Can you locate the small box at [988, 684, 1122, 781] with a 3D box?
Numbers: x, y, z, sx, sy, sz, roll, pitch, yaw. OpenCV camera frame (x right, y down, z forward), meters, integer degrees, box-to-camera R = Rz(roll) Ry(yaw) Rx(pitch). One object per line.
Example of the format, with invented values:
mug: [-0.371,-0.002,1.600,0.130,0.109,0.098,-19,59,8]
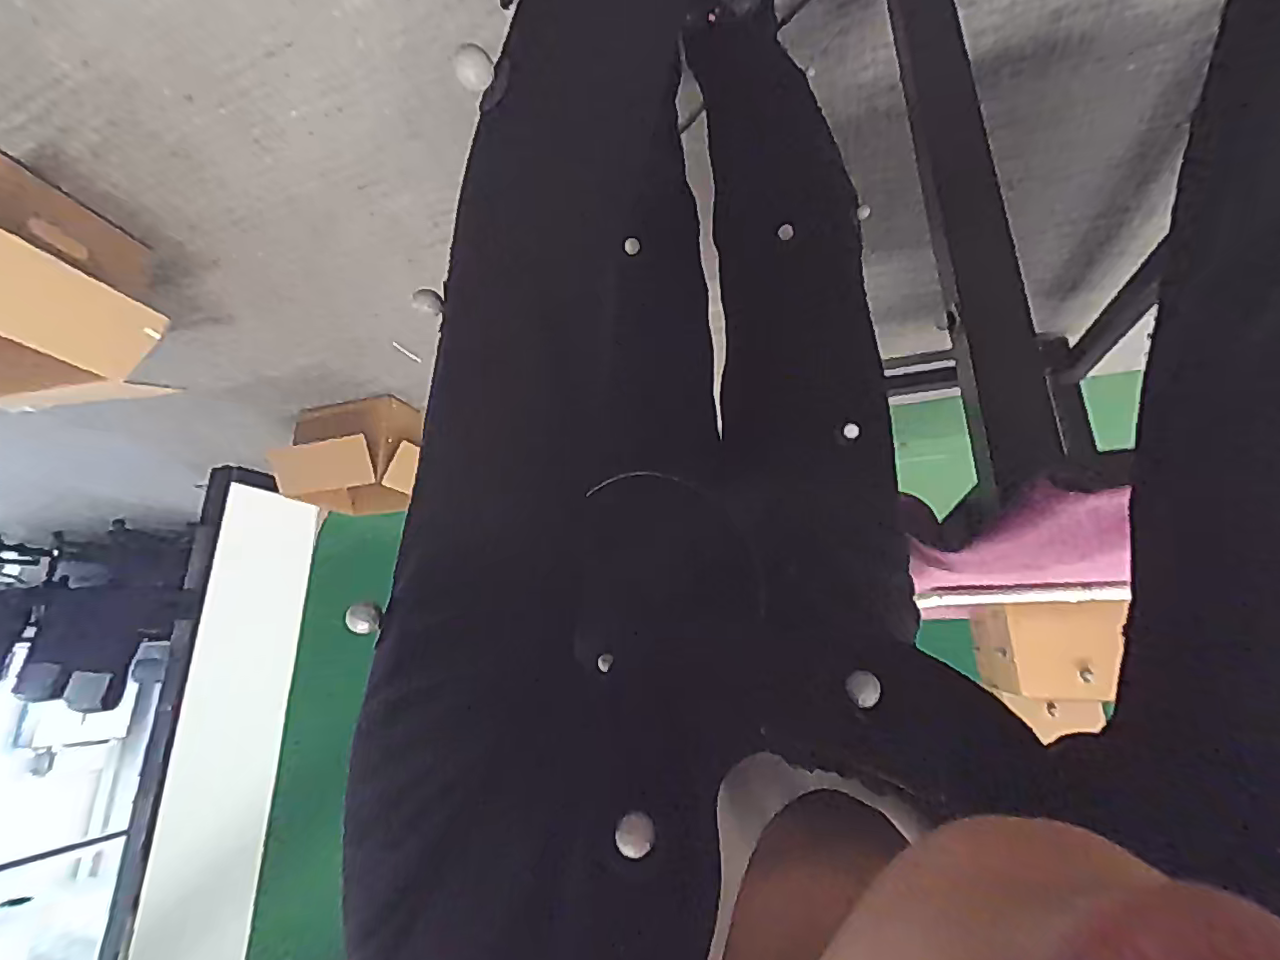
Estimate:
small box: [0.877,0.531,1.165,0.179,0.176,0.168,-5,163,18]

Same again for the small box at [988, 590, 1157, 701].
small box: [0.735,0.289,0.946,0.179,0.176,0.168,-8,161,20]

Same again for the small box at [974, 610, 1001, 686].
small box: [0.879,0.376,1.220,0.179,0.176,0.168,-6,162,17]
